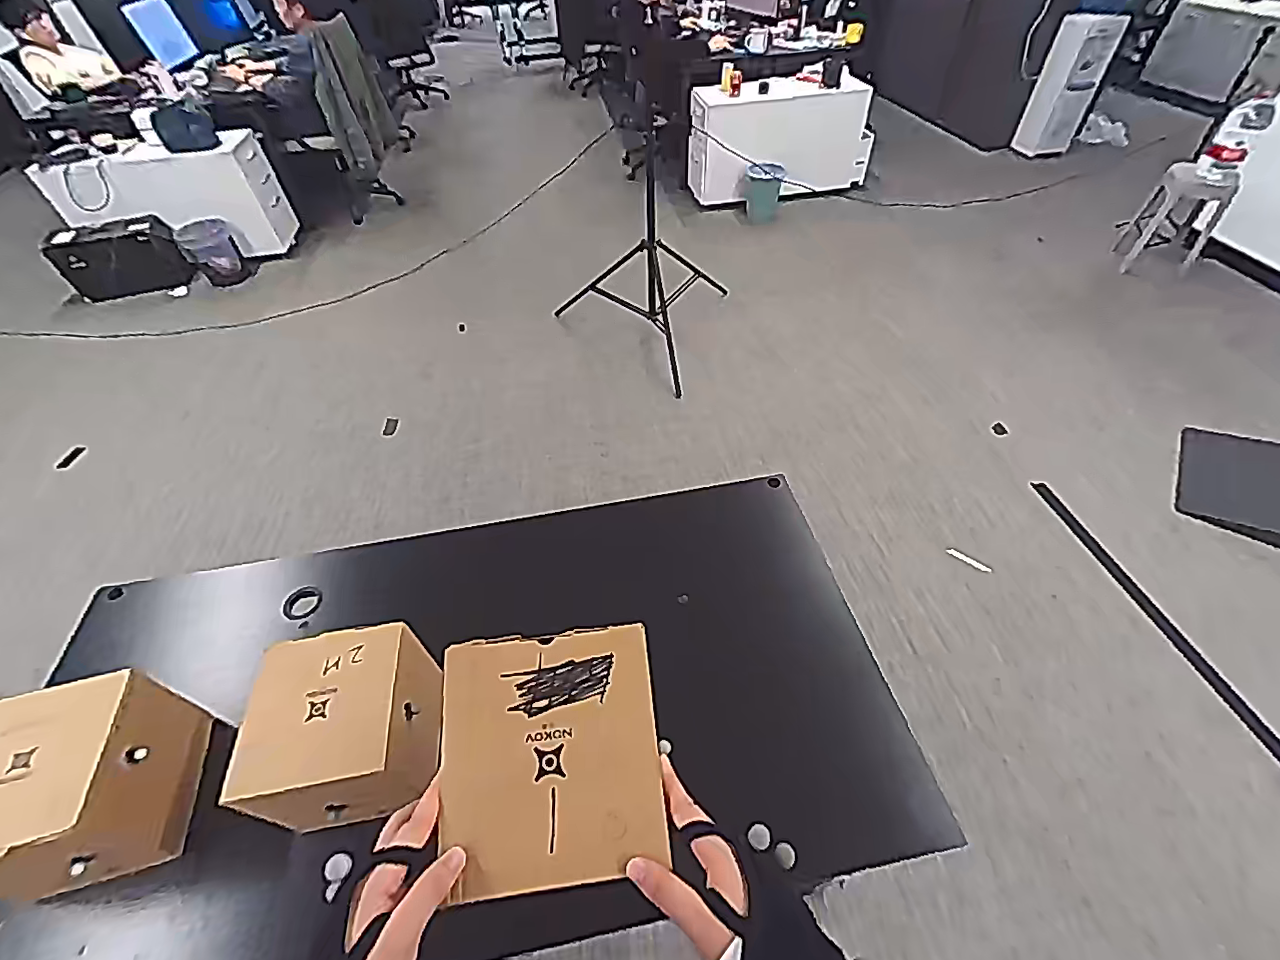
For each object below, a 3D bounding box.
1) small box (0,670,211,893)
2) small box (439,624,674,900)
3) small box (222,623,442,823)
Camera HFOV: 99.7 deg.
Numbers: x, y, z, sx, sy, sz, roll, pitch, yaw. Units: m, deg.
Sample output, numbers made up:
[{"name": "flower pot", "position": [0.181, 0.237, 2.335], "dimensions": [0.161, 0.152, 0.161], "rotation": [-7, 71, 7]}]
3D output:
[{"name": "small box", "position": [-0.657, 0.358, 0.638], "dimensions": [0.168, 0.176, 0.179], "rotation": [-13, 48, -10]}, {"name": "small box", "position": [-0.069, 0.243, 0.485], "dimensions": [0.168, 0.176, 0.179], "rotation": [-5, 63, -5]}, {"name": "small box", "position": [-0.355, 0.305, 0.668], "dimensions": [0.168, 0.176, 0.179], "rotation": [-8, 48, -5]}]
